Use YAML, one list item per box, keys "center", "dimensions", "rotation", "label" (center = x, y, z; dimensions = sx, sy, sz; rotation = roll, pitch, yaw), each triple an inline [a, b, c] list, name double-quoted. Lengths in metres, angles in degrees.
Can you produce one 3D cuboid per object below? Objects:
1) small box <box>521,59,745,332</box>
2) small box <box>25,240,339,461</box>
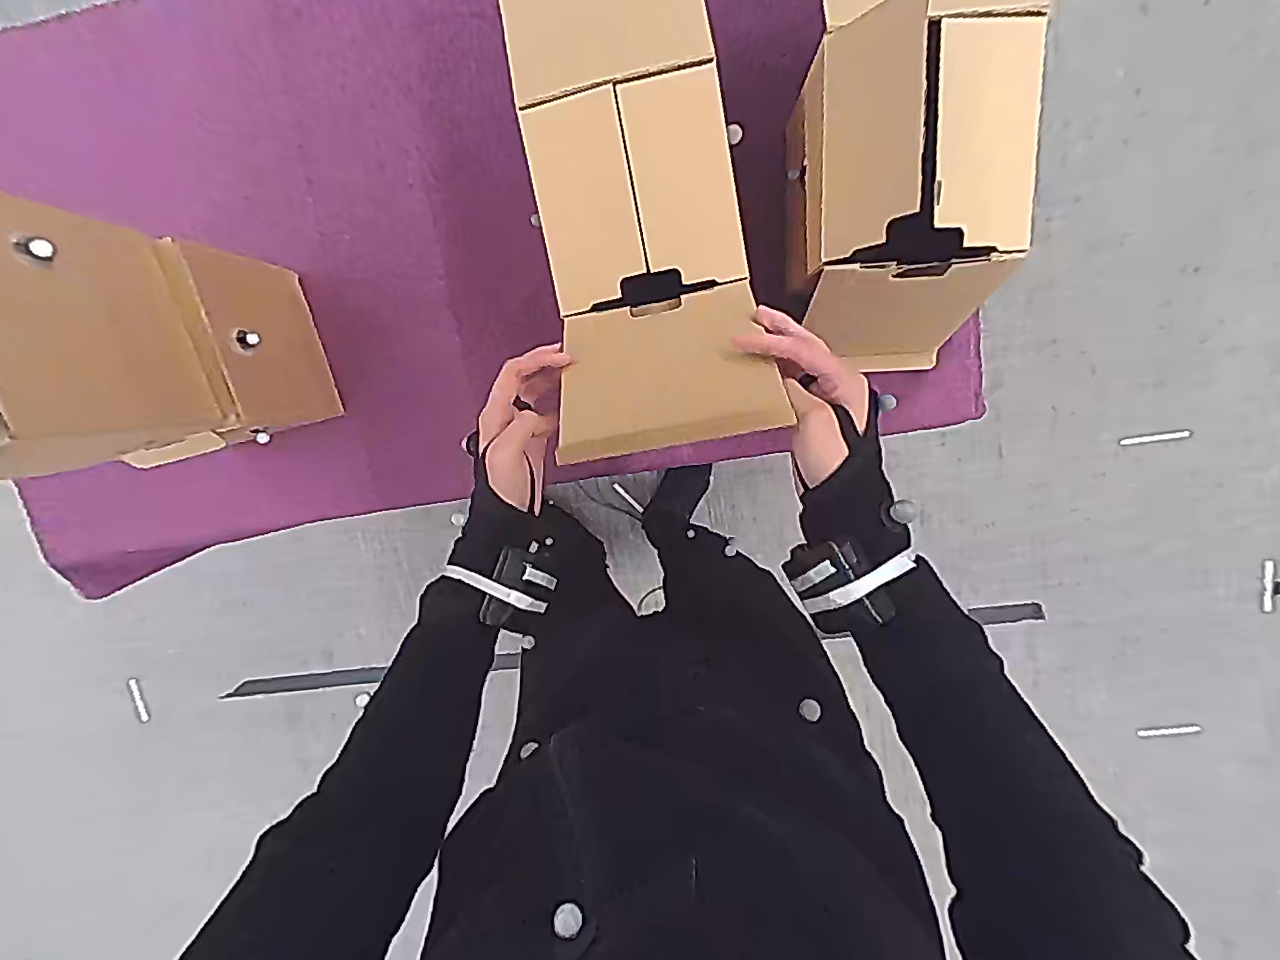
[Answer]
- center: [0.001, -0.251, 0.525]
  dimensions: [0.168, 0.176, 0.179]
  rotation: [-9, 100, 7]
  label: "small box"
- center: [-0.466, -0.133, 0.585]
  dimensions: [0.168, 0.176, 0.179]
  rotation: [-12, 100, 6]
  label: "small box"
